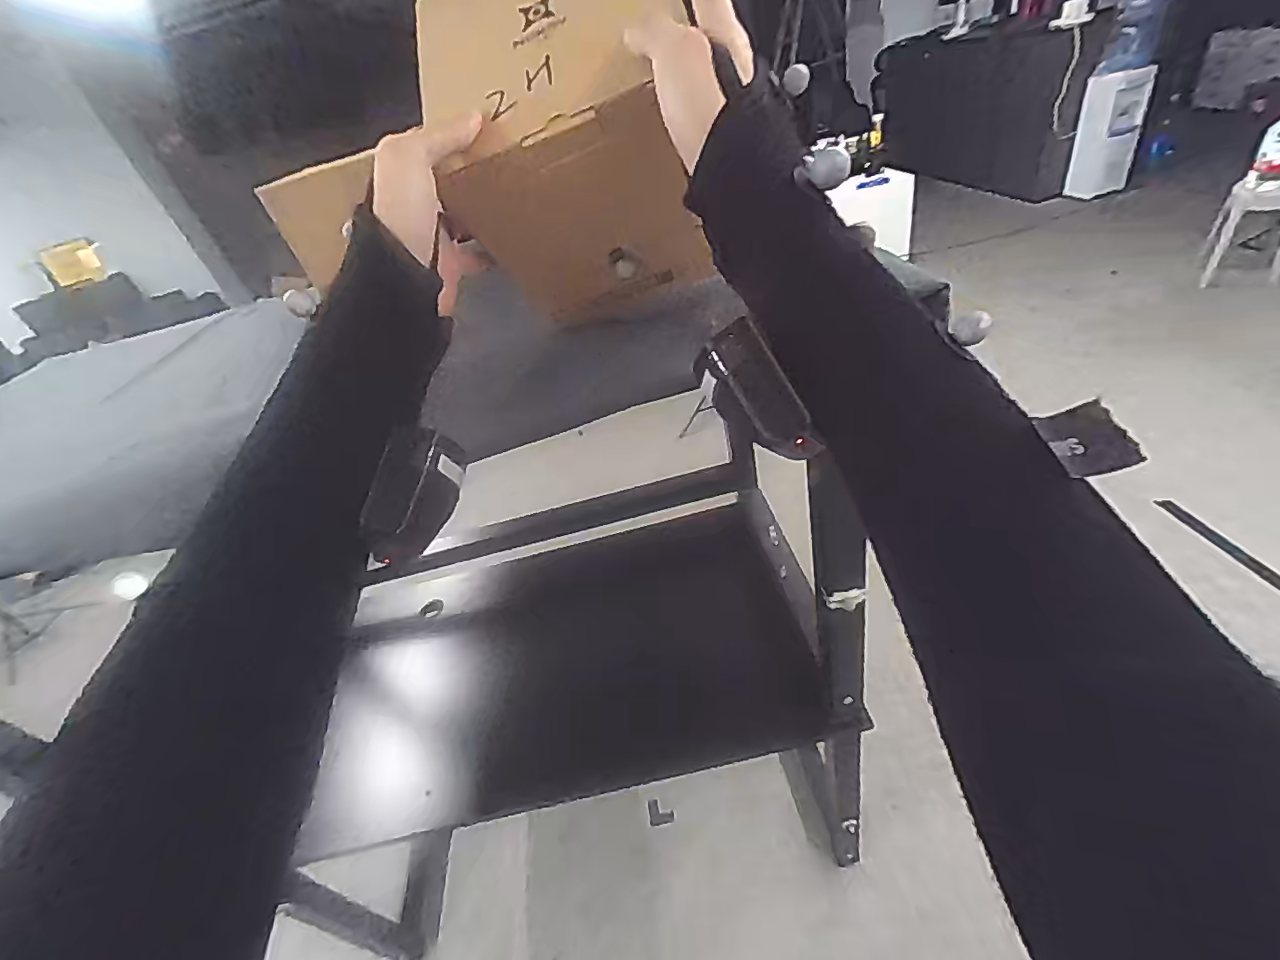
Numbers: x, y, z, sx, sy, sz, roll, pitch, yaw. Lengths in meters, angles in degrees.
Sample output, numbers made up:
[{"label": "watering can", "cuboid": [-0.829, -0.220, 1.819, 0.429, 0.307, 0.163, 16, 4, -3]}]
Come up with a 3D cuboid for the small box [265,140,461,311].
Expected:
[{"label": "small box", "cuboid": [-0.374, -0.362, 0.772, 0.168, 0.176, 0.179, -15, 37, 3]}]

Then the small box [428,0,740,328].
[{"label": "small box", "cuboid": [-0.032, -0.248, 0.400, 0.168, 0.176, 0.179, -16, 70, 14]}]
